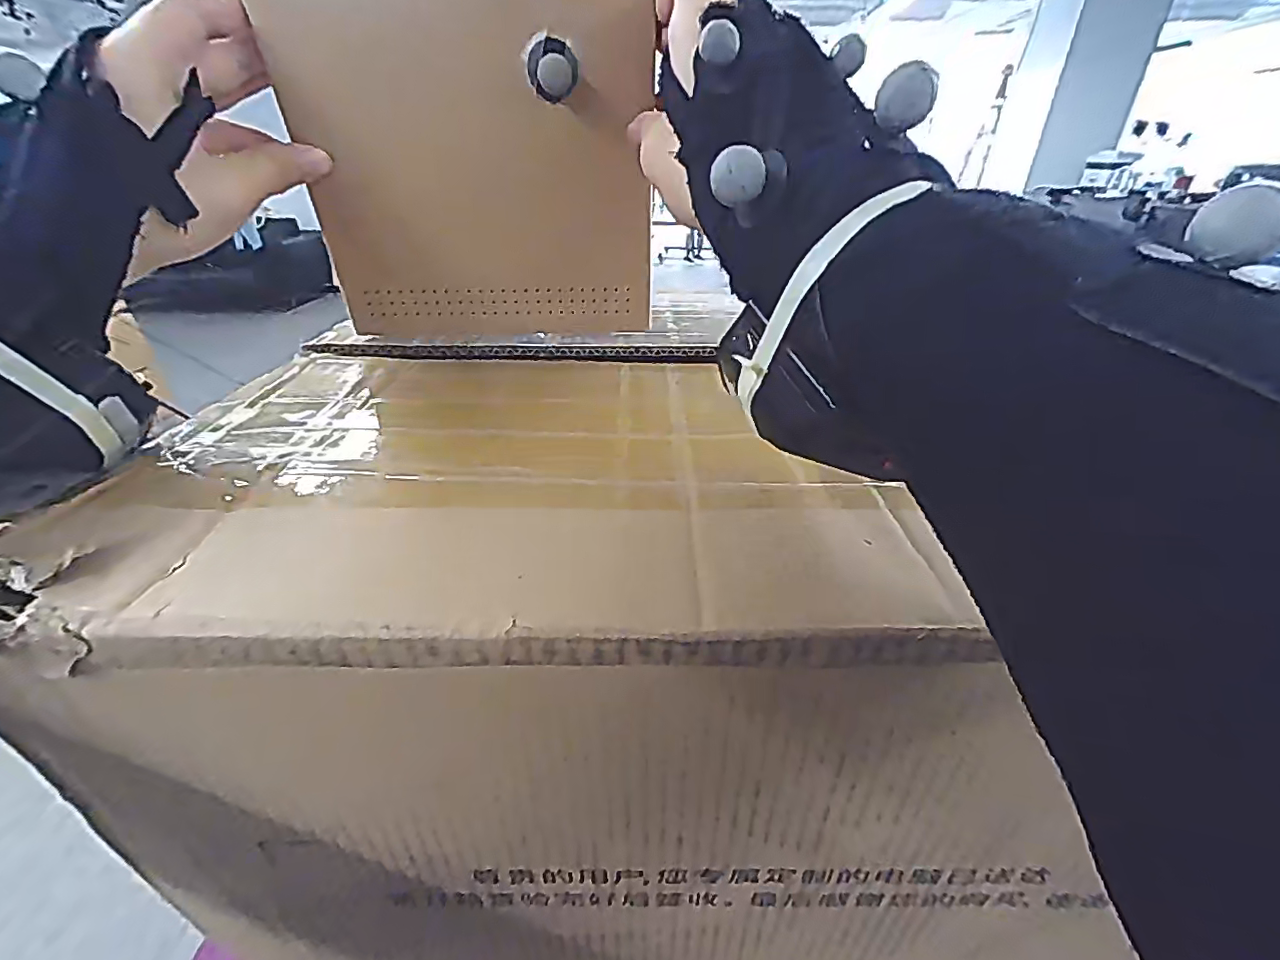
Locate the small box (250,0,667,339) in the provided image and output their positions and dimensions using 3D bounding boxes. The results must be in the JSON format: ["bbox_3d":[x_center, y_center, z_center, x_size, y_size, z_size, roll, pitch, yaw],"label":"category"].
[{"bbox_3d":[-0.080,-0.196,0.332,0.179,0.176,0.168,-1,38,-2],"label":"small box"}]
